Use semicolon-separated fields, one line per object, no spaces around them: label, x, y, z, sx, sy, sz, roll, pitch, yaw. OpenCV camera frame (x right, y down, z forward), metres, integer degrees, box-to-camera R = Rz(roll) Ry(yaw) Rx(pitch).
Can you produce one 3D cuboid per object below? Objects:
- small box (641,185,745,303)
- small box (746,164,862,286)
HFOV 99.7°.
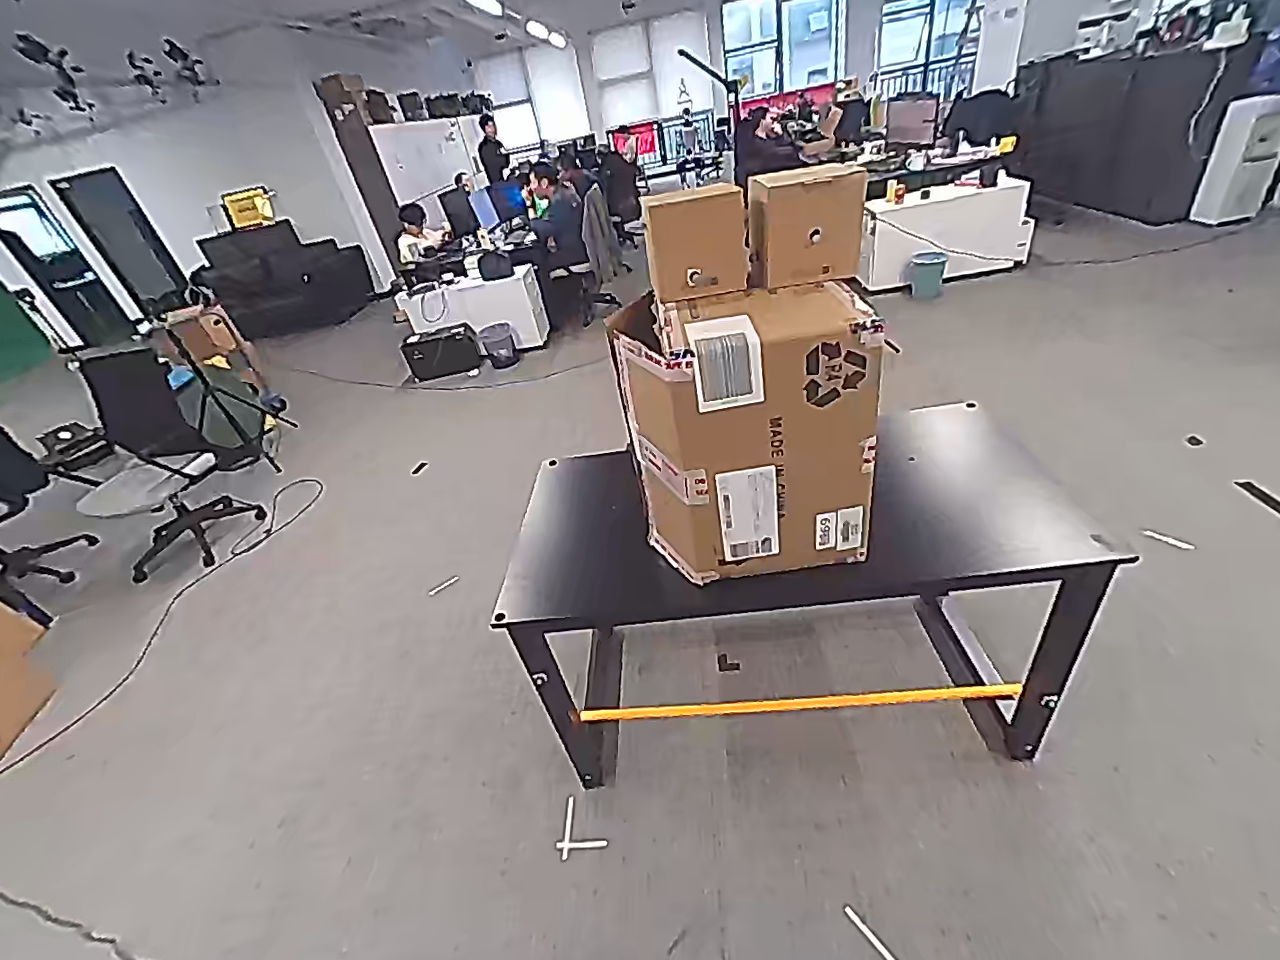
small box;0.098;-0.447;1.025;0.168;0.176;0.179;-11;33;1
small box;0.294;-0.466;0.997;0.168;0.176;0.179;-7;35;3
